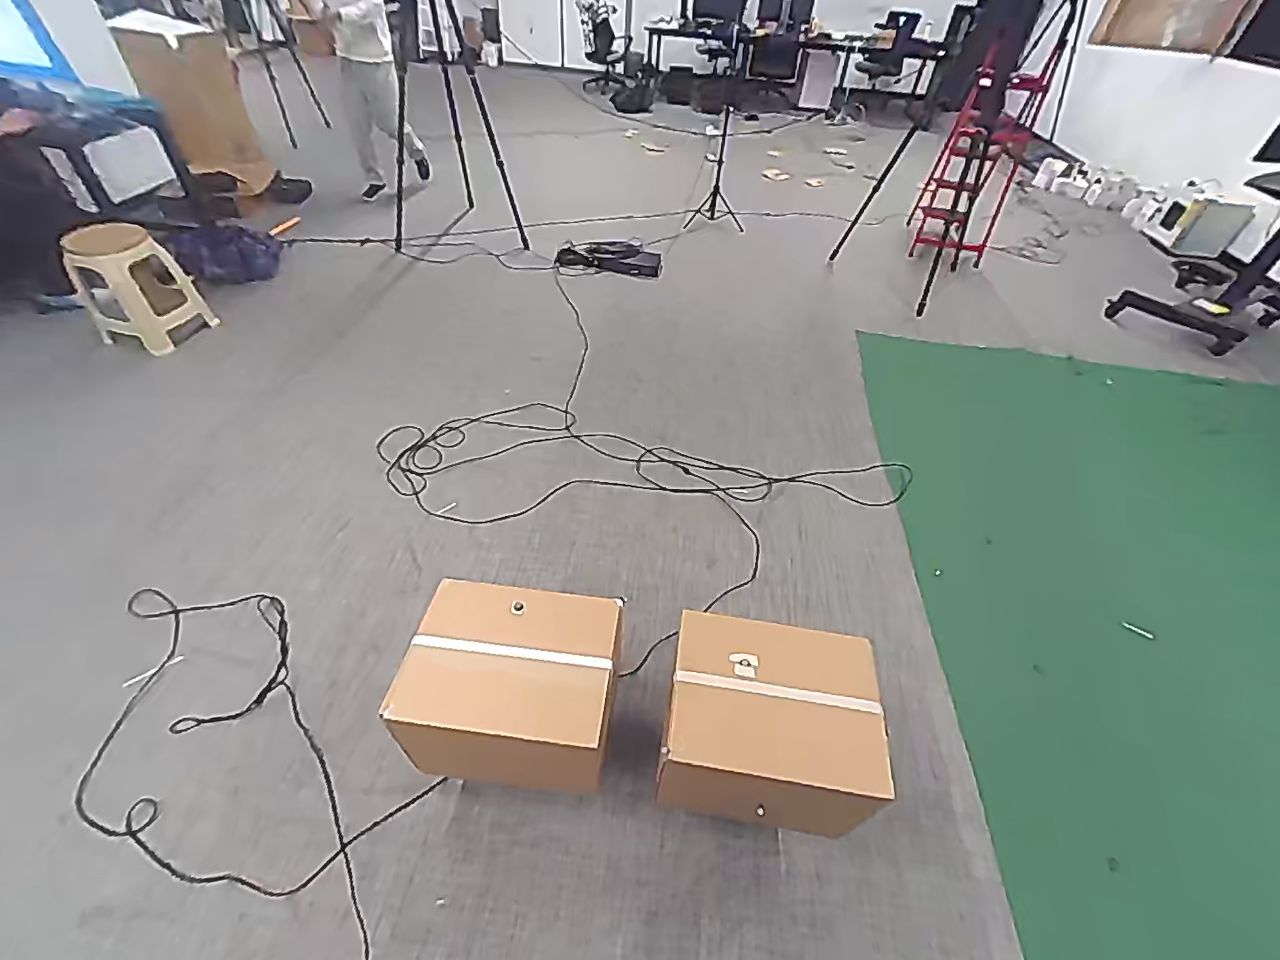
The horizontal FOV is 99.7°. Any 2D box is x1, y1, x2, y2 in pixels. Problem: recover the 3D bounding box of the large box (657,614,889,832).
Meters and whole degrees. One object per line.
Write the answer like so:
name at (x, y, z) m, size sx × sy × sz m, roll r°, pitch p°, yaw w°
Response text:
large box at (0.263, 0.531, 1.178) m, size 0.408 × 0.320 × 0.320 m, roll 8°, pitch 45°, yaw 5°
